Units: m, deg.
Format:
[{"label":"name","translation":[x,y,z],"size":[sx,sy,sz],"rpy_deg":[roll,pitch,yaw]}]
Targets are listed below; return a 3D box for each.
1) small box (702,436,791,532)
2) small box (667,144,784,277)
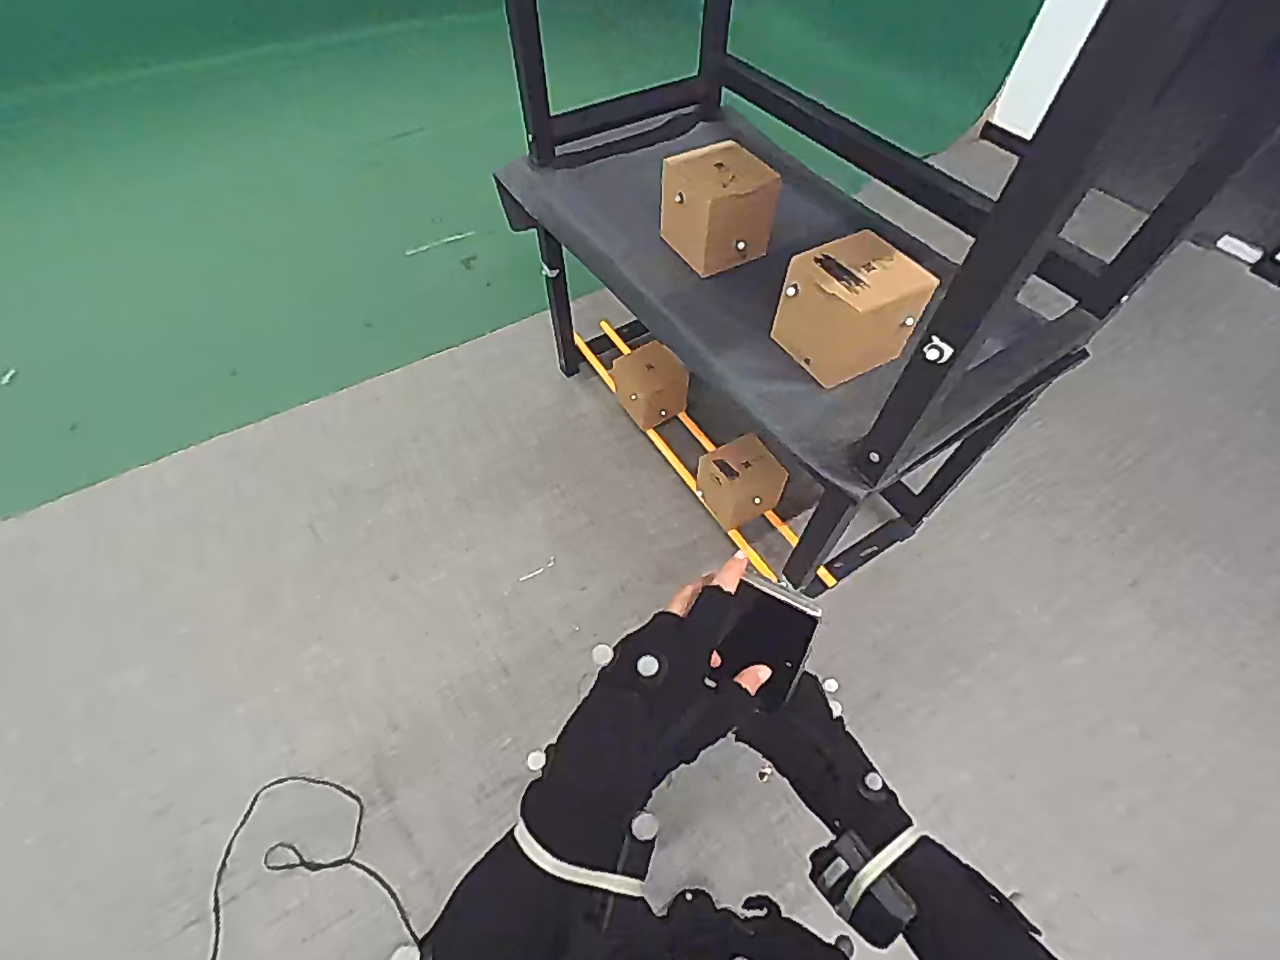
[{"label":"small box","translation":[0.283,0.016,1.483],"size":[0.179,0.176,0.168],"rpy_deg":[-25,60,-15]},{"label":"small box","translation":[0.165,-0.553,1.116],"size":[0.168,0.176,0.179],"rpy_deg":[-25,60,-15]}]
